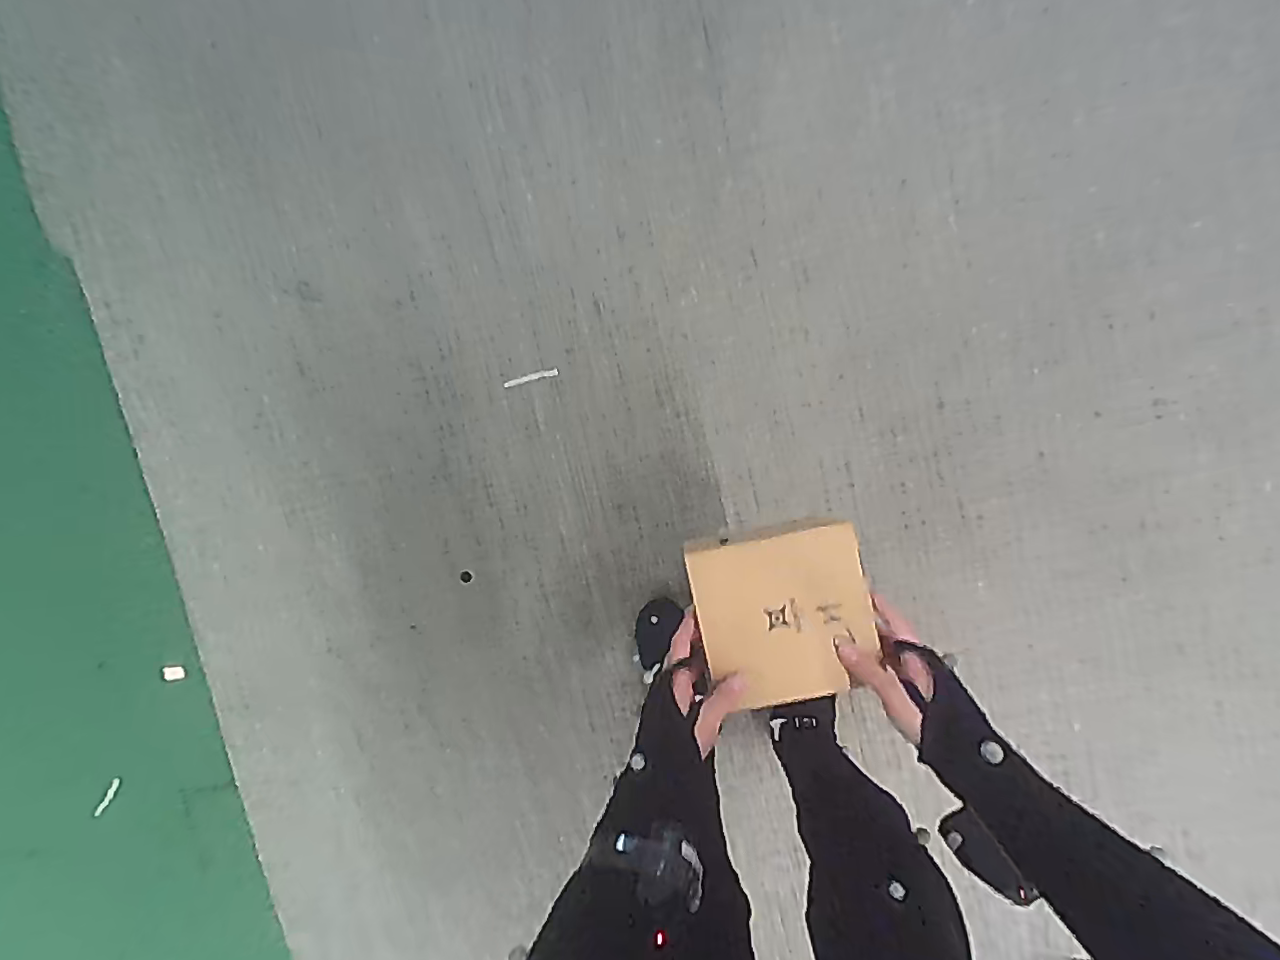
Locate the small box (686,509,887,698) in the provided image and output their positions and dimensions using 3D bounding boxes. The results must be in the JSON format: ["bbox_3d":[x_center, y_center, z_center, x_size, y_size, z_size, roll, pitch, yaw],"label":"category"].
[{"bbox_3d":[0.154,0.130,0.627,0.179,0.176,0.168,-12,88,4],"label":"small box"}]
